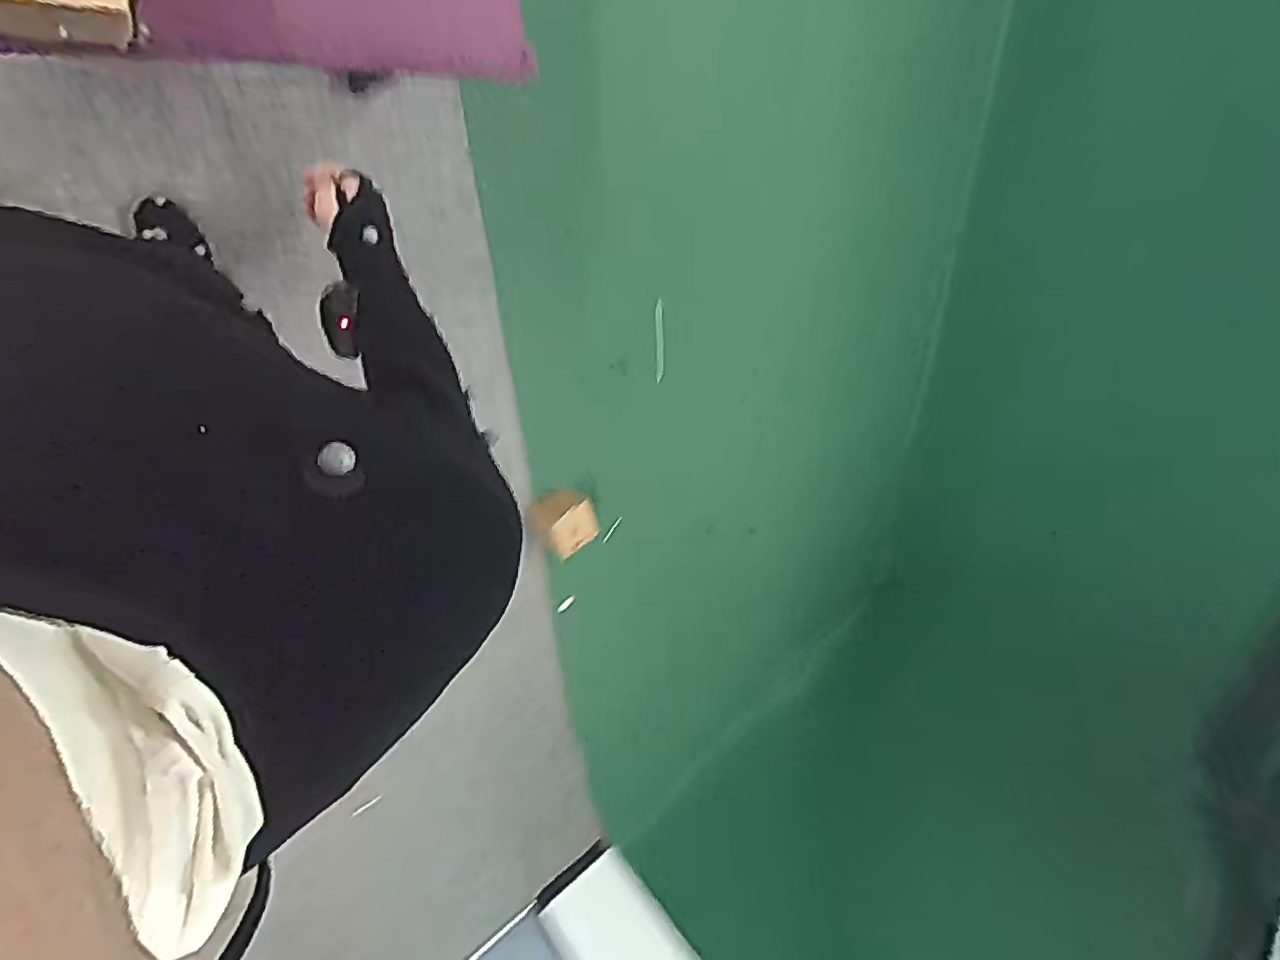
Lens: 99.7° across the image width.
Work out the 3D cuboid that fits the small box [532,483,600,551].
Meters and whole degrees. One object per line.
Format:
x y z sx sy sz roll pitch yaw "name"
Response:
-0.283 0.132 2.050 0.168 0.176 0.179 -34 130 -25 "small box"
